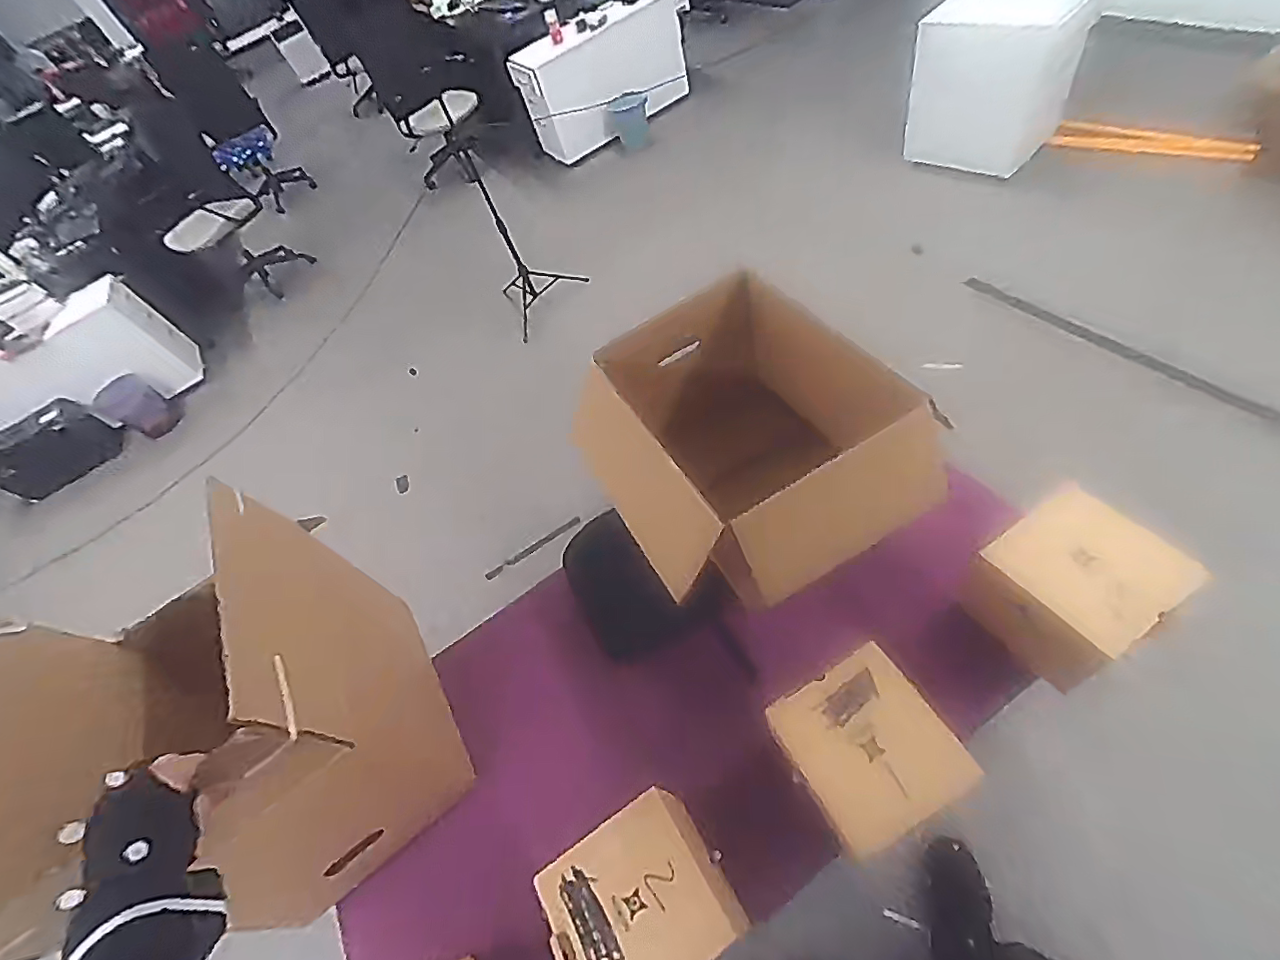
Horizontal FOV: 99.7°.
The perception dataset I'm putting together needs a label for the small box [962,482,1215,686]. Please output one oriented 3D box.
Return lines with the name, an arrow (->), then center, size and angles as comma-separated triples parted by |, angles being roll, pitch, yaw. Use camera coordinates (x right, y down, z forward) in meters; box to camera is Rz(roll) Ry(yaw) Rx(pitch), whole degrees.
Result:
small box -> 0.570, 0.143, 0.721 | 0.168, 0.176, 0.179 | -35, 53, -6
